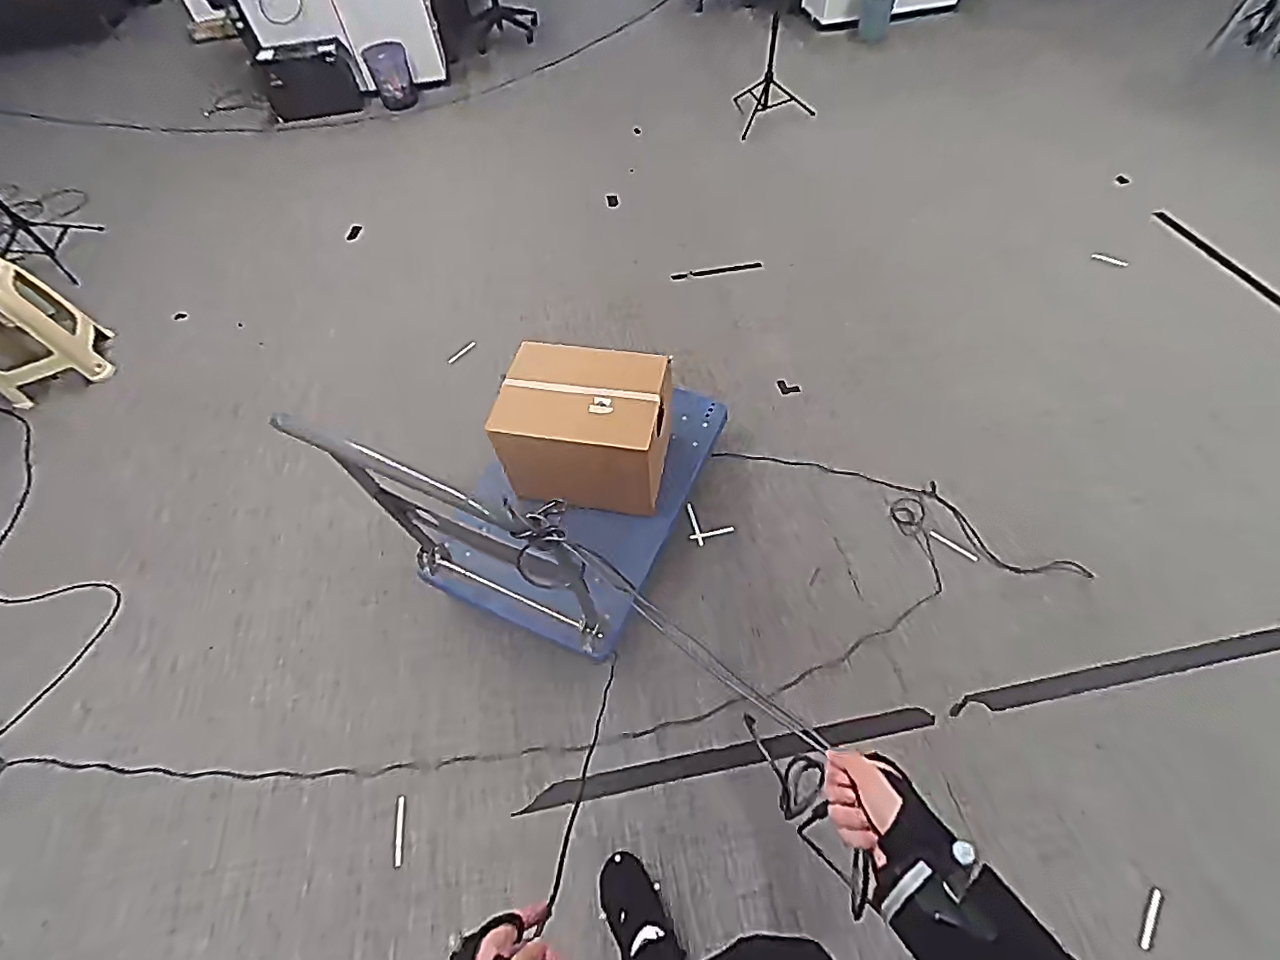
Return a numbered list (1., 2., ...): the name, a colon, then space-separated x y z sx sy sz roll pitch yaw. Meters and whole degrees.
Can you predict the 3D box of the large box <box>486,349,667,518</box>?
1. large box: -0.147 -0.122 1.469 0.408 0.320 0.320 8 57 8
